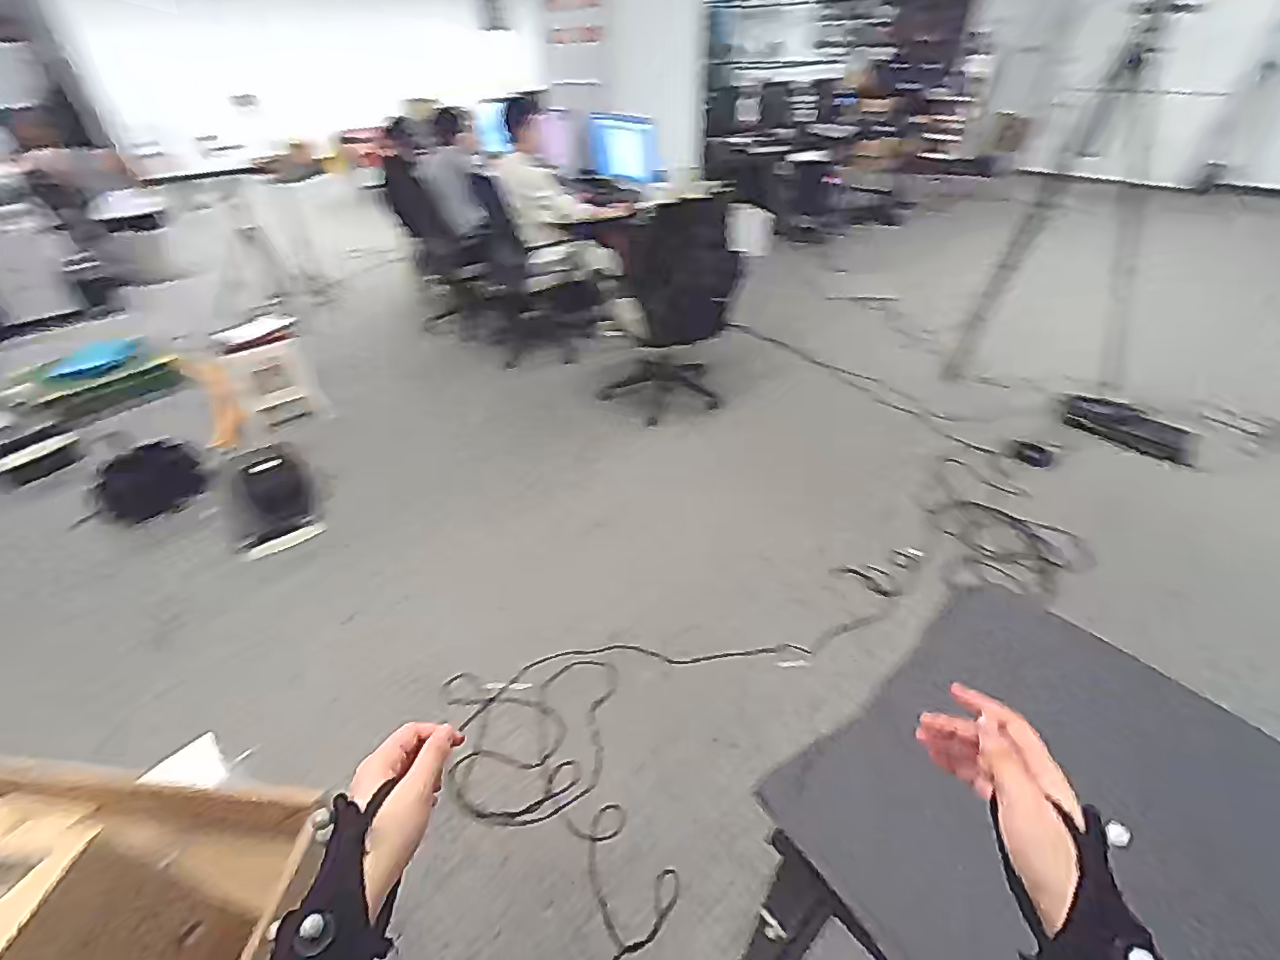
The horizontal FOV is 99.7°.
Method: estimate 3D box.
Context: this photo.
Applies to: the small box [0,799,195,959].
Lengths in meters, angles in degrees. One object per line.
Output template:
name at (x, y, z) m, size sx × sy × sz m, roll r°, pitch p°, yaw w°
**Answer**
small box at (-0.569, 0.426, 0.496) m, size 0.168 × 0.176 × 0.179 m, roll 2°, pitch 41°, yaw 9°
